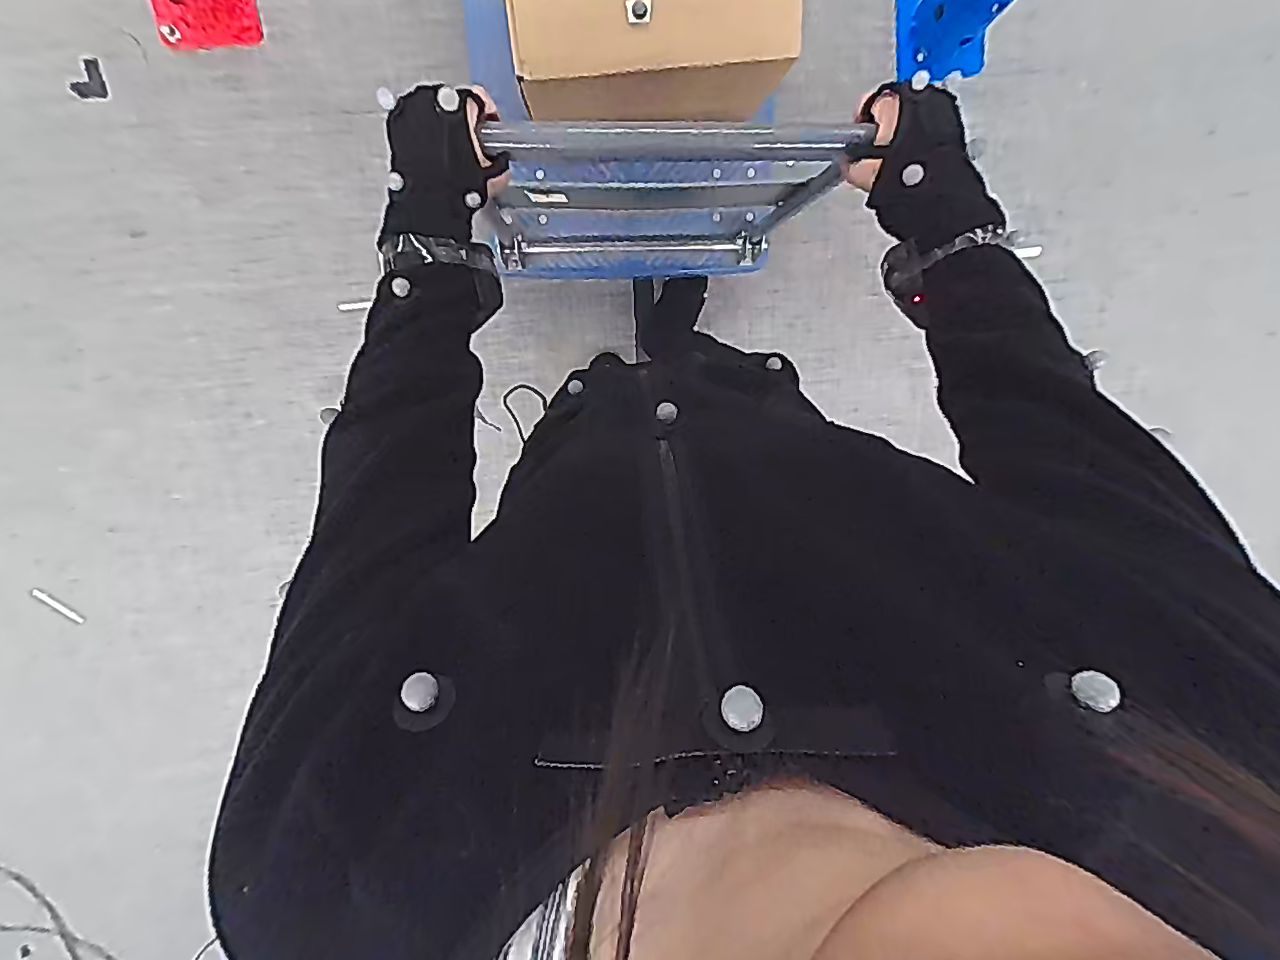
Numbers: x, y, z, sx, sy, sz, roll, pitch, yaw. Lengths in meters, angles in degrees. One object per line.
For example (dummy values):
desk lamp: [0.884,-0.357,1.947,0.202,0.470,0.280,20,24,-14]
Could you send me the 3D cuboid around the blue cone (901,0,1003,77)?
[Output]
blue cone: [0.677,-0.952,1.026,0.193,0.380,0.192,-8,107,-2]
